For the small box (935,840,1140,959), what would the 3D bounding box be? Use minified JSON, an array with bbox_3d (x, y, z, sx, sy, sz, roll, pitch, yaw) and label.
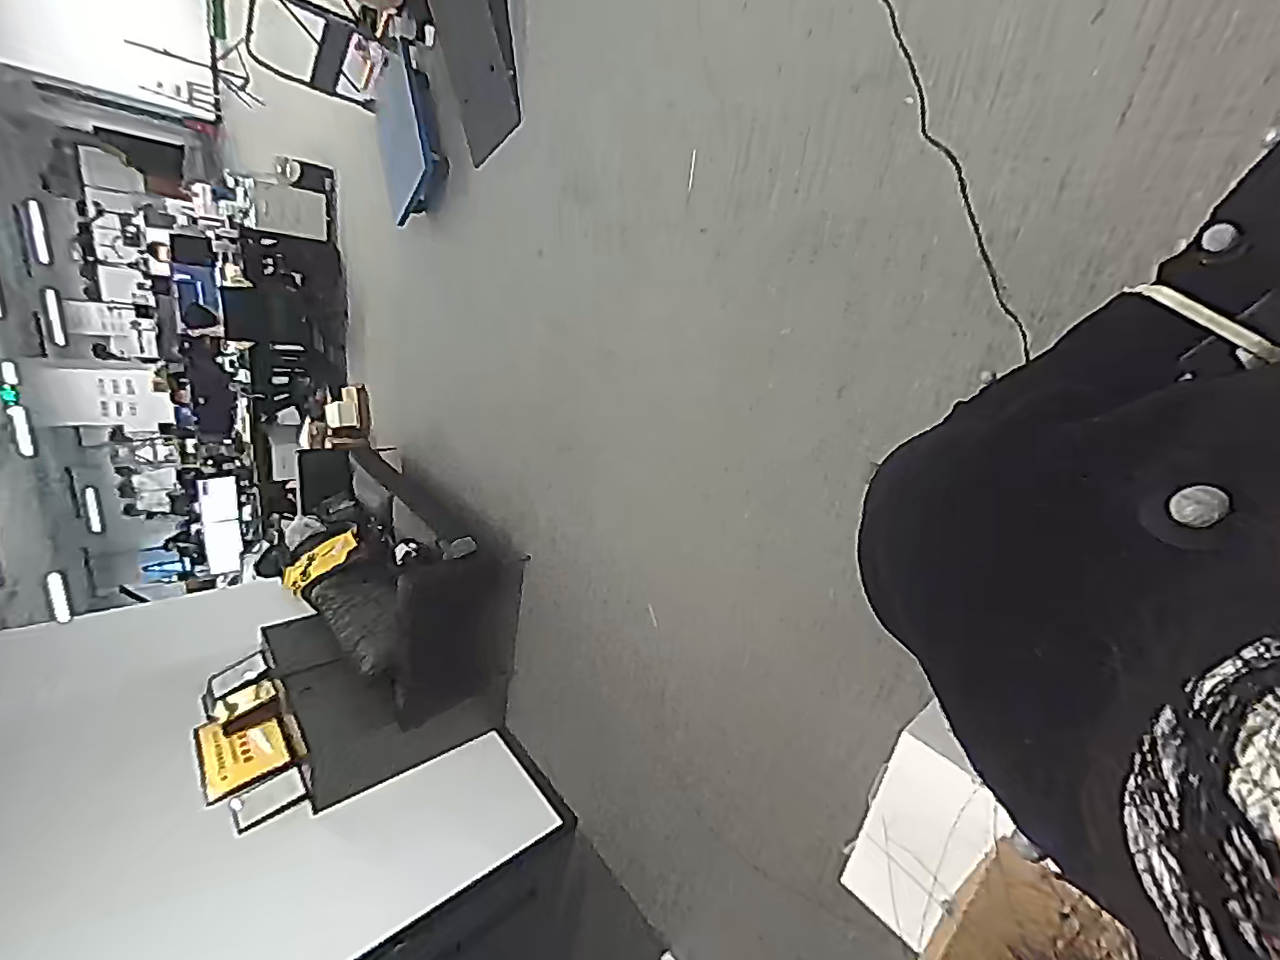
[{"bbox_3d":[0.569,0.677,0.776,0.168,0.176,0.179,35,122,40],"label":"small box"}]
